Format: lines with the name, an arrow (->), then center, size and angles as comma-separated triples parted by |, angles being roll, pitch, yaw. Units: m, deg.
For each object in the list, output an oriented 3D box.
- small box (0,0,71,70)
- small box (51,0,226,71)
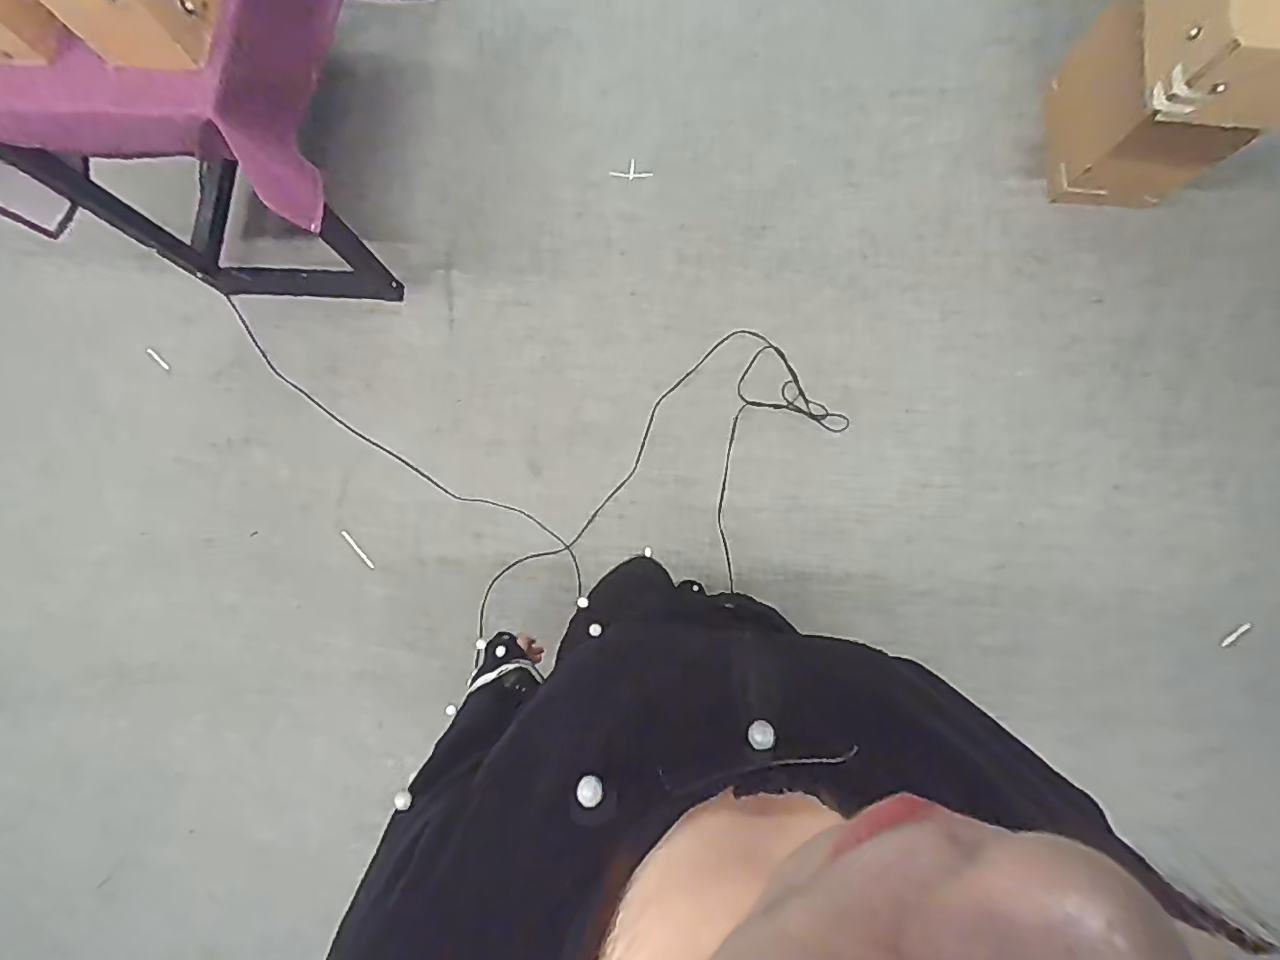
small box -> -1.114, -0.838, 0.903 | 0.168, 0.176, 0.179 | 5, 81, 4
small box -> -0.842, -0.817, 0.889 | 0.179, 0.176, 0.168 | 5, 81, 3
